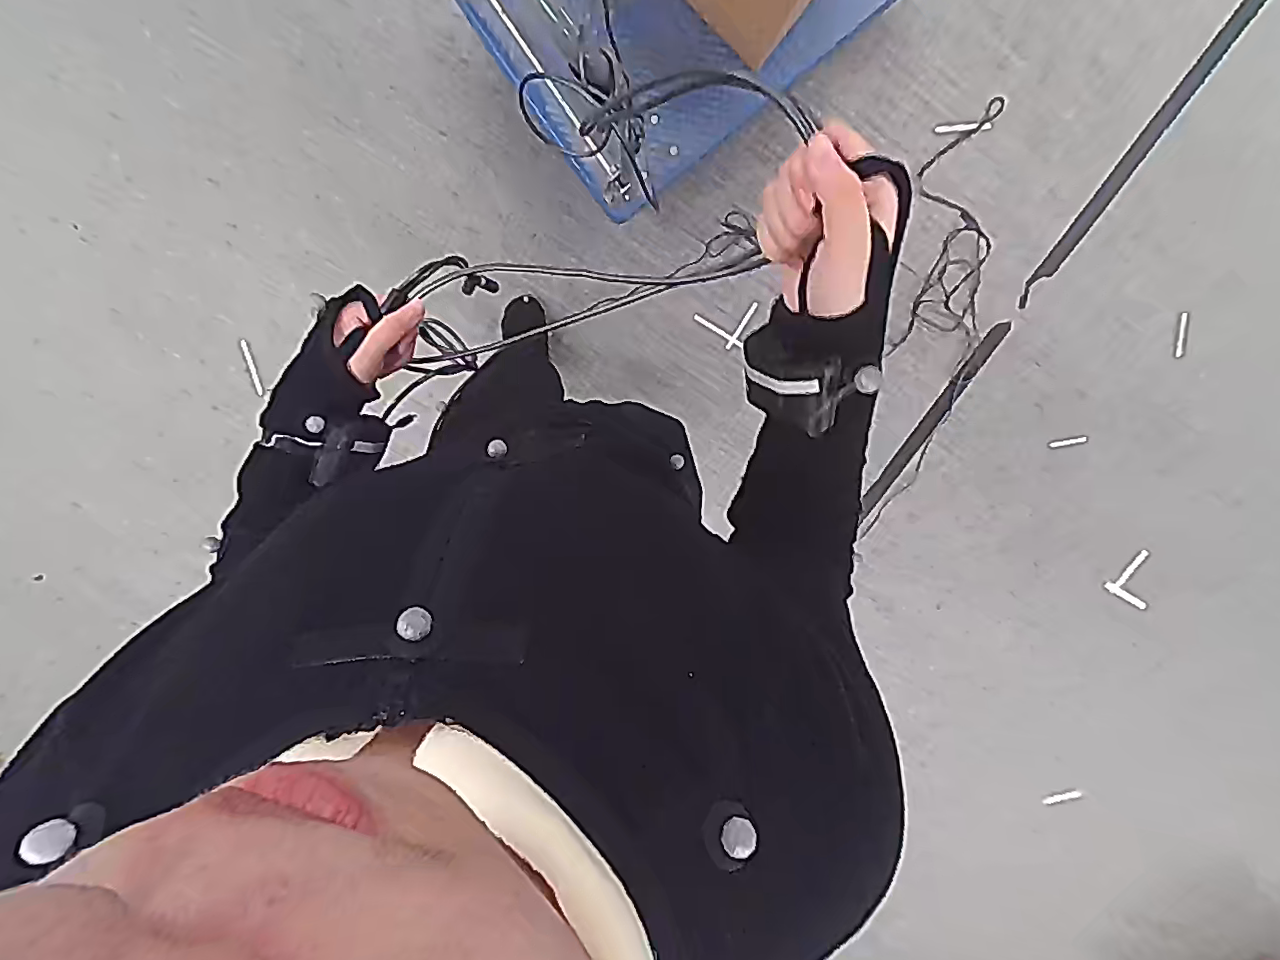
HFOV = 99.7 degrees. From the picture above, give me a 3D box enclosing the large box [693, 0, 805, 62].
[{"bbox_3d":[0.183,-1.025,0.879,0.408,0.320,0.320,37,102,-13],"label":"large box"}]
